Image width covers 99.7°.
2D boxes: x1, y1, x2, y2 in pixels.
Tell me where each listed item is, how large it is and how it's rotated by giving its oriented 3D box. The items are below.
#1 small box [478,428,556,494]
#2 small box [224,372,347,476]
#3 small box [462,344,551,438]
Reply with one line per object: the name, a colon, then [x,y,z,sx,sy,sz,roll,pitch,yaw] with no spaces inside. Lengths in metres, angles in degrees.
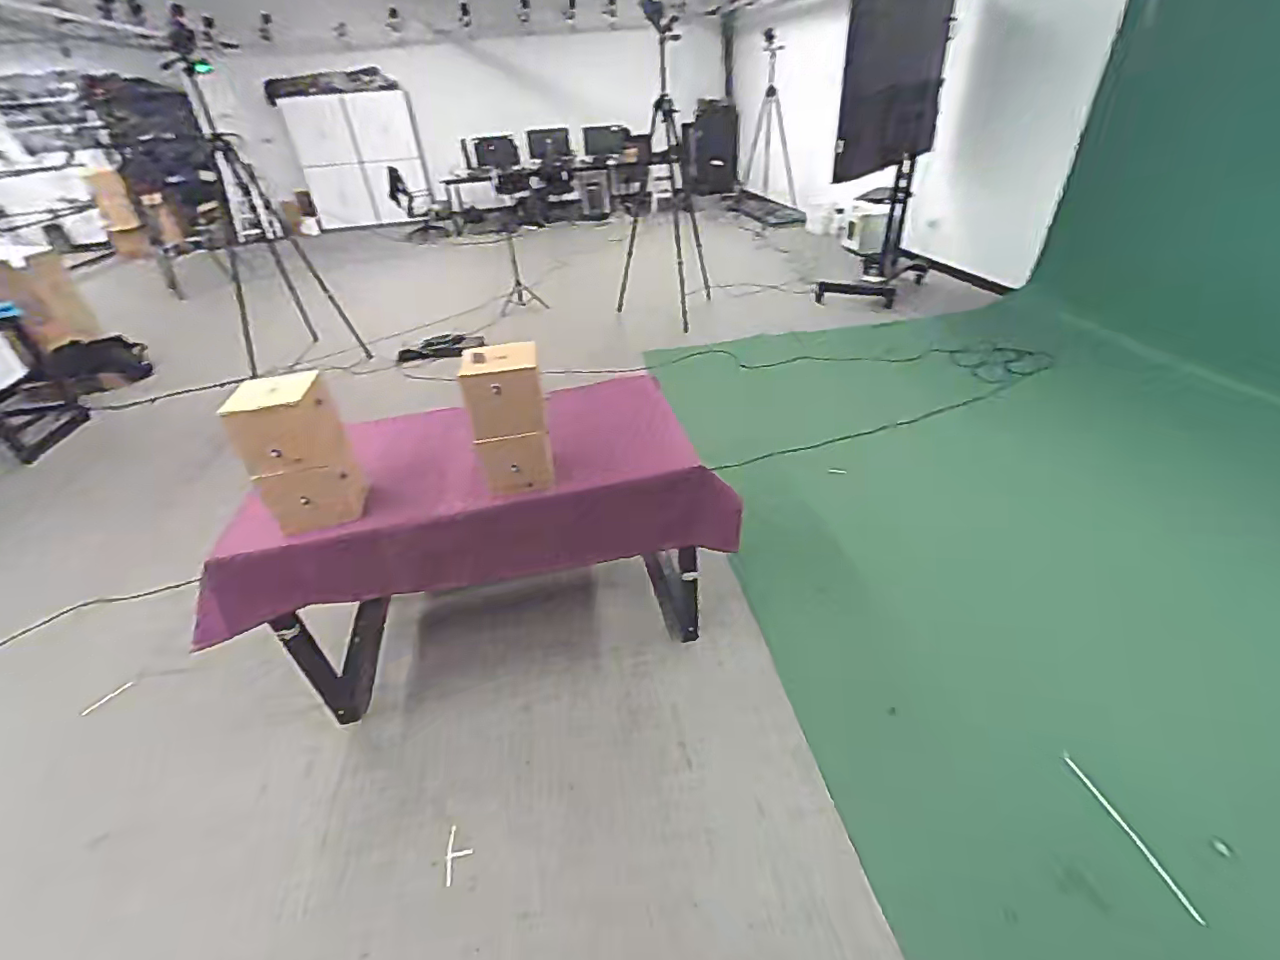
small box: [-0.314,-0.076,1.405,0.168,0.176,0.179,-8,35,-6]
small box: [-0.804,-0.131,1.251,0.168,0.176,0.179,-11,36,-8]
small box: [-0.317,-0.214,1.314,0.179,0.176,0.168,-8,36,-6]
